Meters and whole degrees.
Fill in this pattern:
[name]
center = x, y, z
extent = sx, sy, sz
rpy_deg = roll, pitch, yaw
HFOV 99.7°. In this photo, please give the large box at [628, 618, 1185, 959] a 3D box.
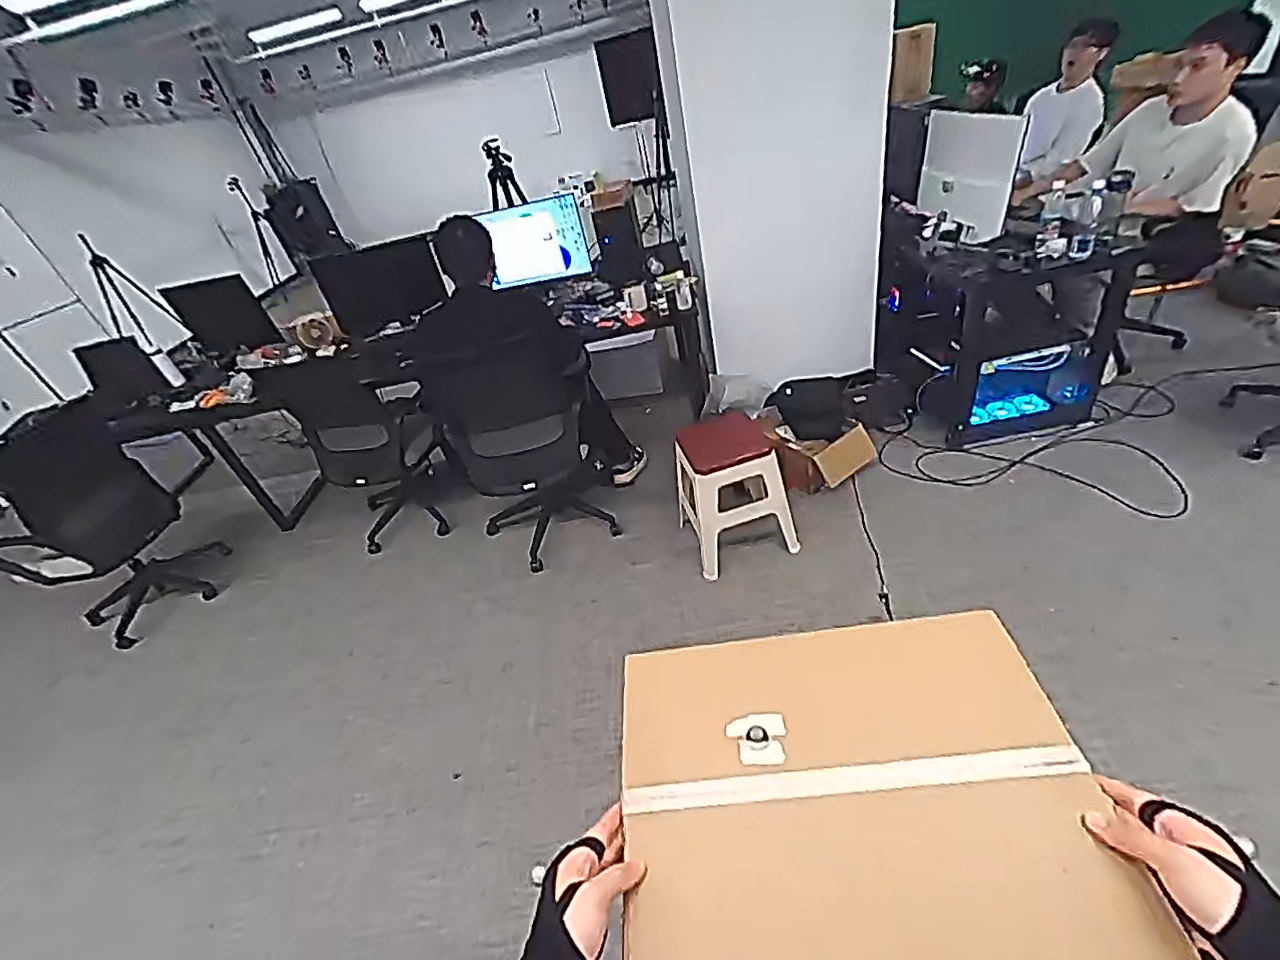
[large box]
center = 0.218, 0.395, 0.595
extent = 0.408, 0.320, 0.320
rpy_deg = -11, 39, 8
